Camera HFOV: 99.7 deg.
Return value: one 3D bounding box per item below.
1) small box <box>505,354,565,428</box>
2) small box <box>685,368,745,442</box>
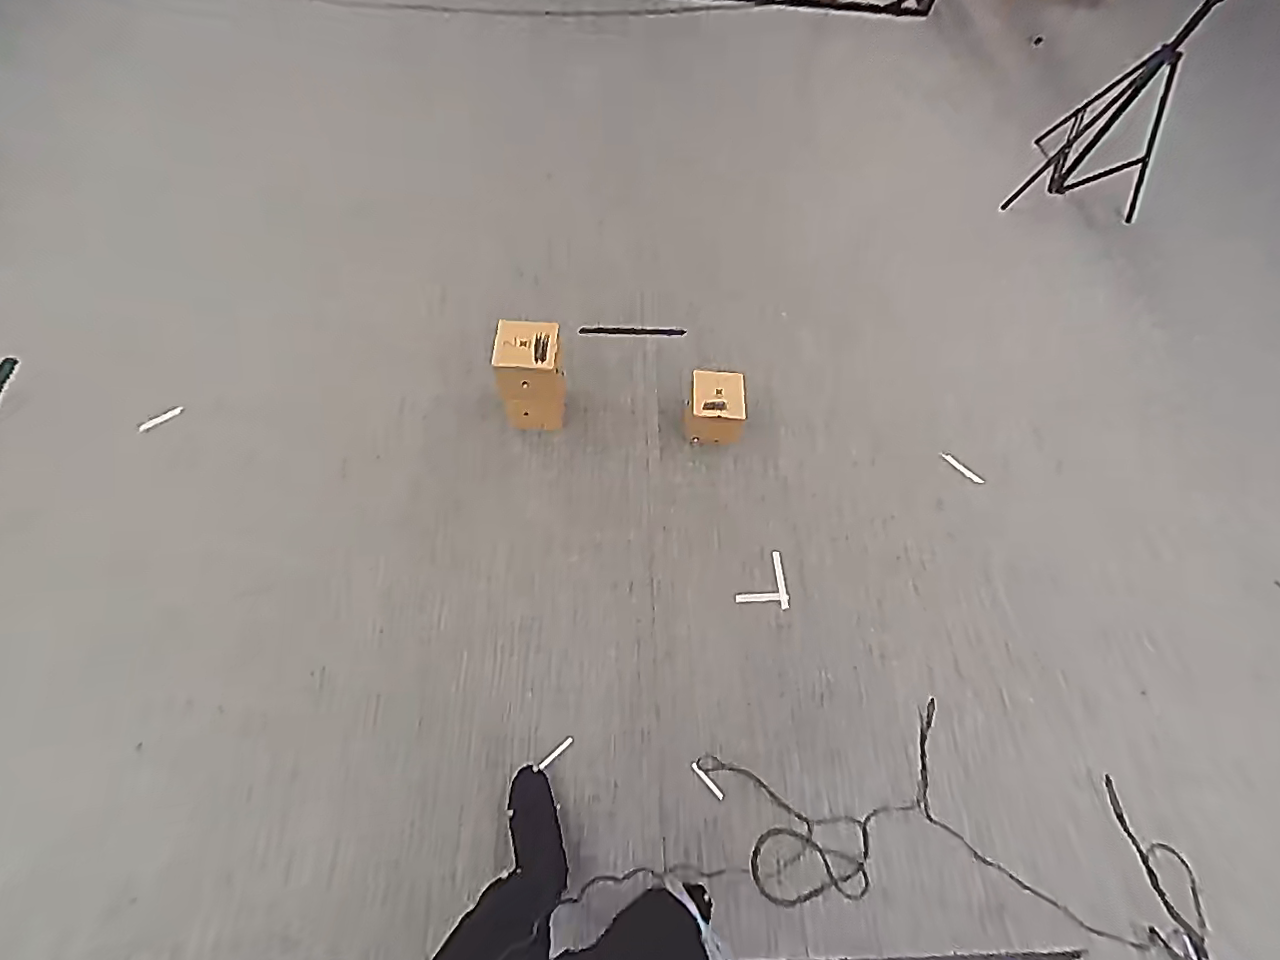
[{"bbox_3d":[-0.330,-0.283,1.738,0.168,0.176,0.179,2,64,-3],"label":"small box"},{"bbox_3d":[0.241,-0.239,1.765,0.168,0.176,0.179,4,64,-4],"label":"small box"}]
